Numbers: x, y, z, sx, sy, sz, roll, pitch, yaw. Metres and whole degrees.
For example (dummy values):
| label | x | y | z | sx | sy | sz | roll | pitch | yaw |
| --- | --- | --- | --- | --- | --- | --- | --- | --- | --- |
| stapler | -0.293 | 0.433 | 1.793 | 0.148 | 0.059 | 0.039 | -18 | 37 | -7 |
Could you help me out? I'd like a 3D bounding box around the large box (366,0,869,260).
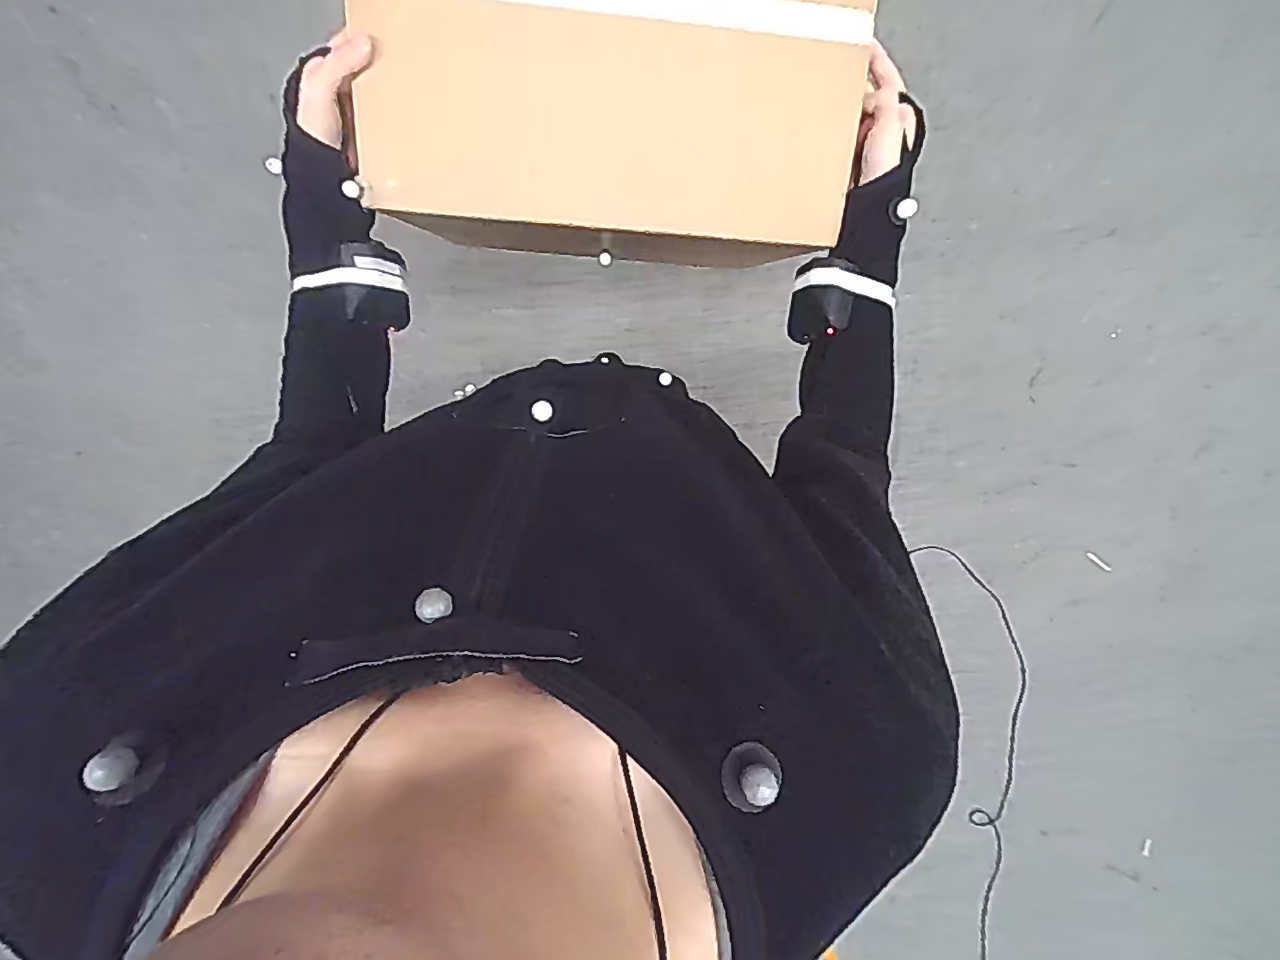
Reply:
| label | x | y | z | sx | sy | sz | roll | pitch | yaw |
| --- | --- | --- | --- | --- | --- | --- | --- | --- | --- |
| large box | -0.022 | -0.414 | 0.570 | 0.408 | 0.320 | 0.320 | 2 | 107 | -5 |
